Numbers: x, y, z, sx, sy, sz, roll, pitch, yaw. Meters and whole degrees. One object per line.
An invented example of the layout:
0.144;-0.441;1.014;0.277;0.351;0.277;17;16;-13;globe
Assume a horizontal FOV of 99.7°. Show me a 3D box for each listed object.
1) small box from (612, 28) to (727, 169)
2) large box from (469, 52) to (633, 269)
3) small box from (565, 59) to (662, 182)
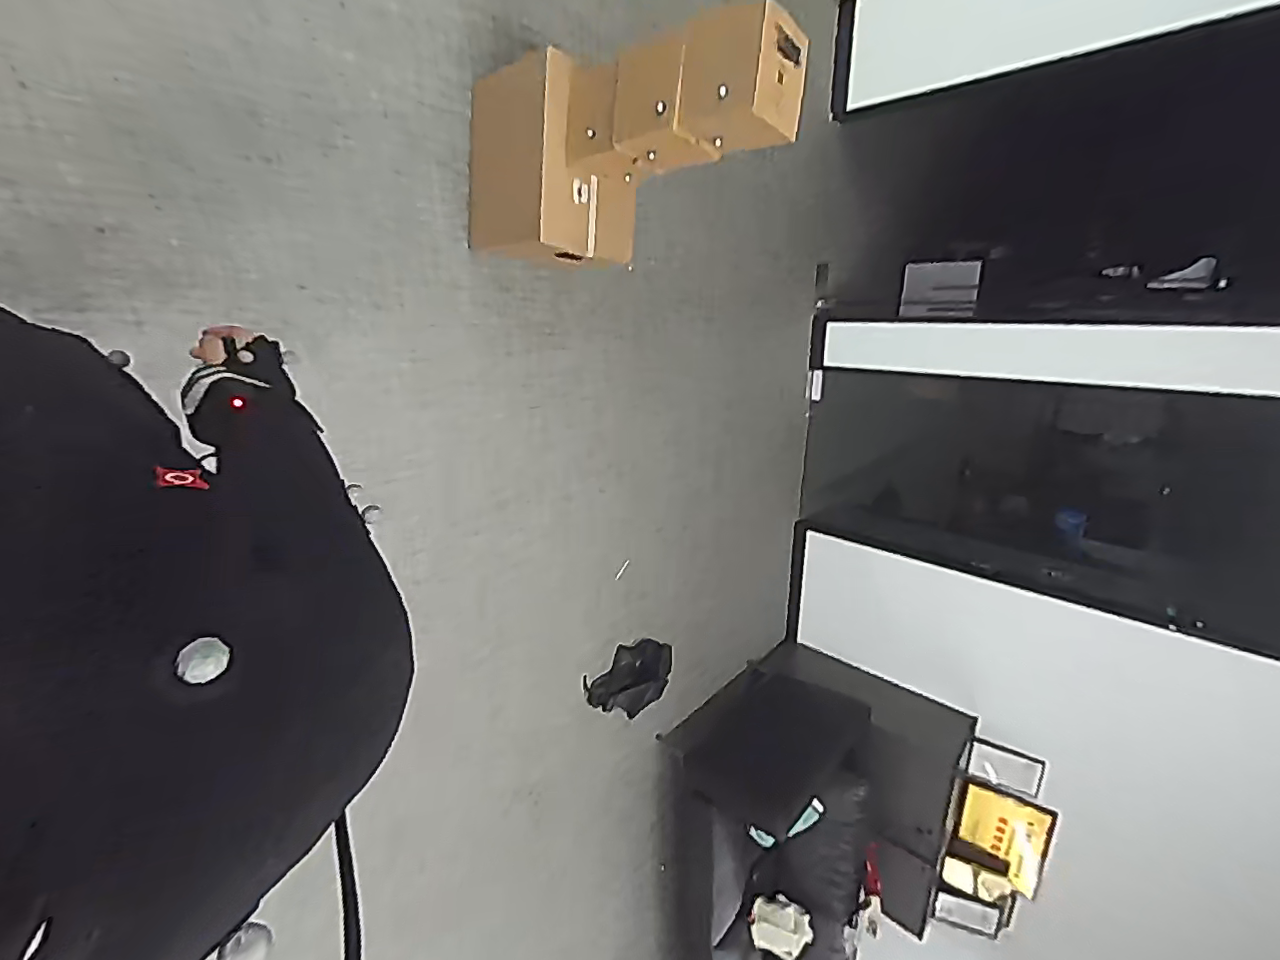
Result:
0.059;-0.777;1.125;0.168;0.176;0.179;-7;108;-49;small box
-0.232;-0.790;1.416;0.320;0.320;0.408;-9;110;-46;large box
-0.057;-0.805;1.235;0.168;0.176;0.179;-10;109;-48;small box
